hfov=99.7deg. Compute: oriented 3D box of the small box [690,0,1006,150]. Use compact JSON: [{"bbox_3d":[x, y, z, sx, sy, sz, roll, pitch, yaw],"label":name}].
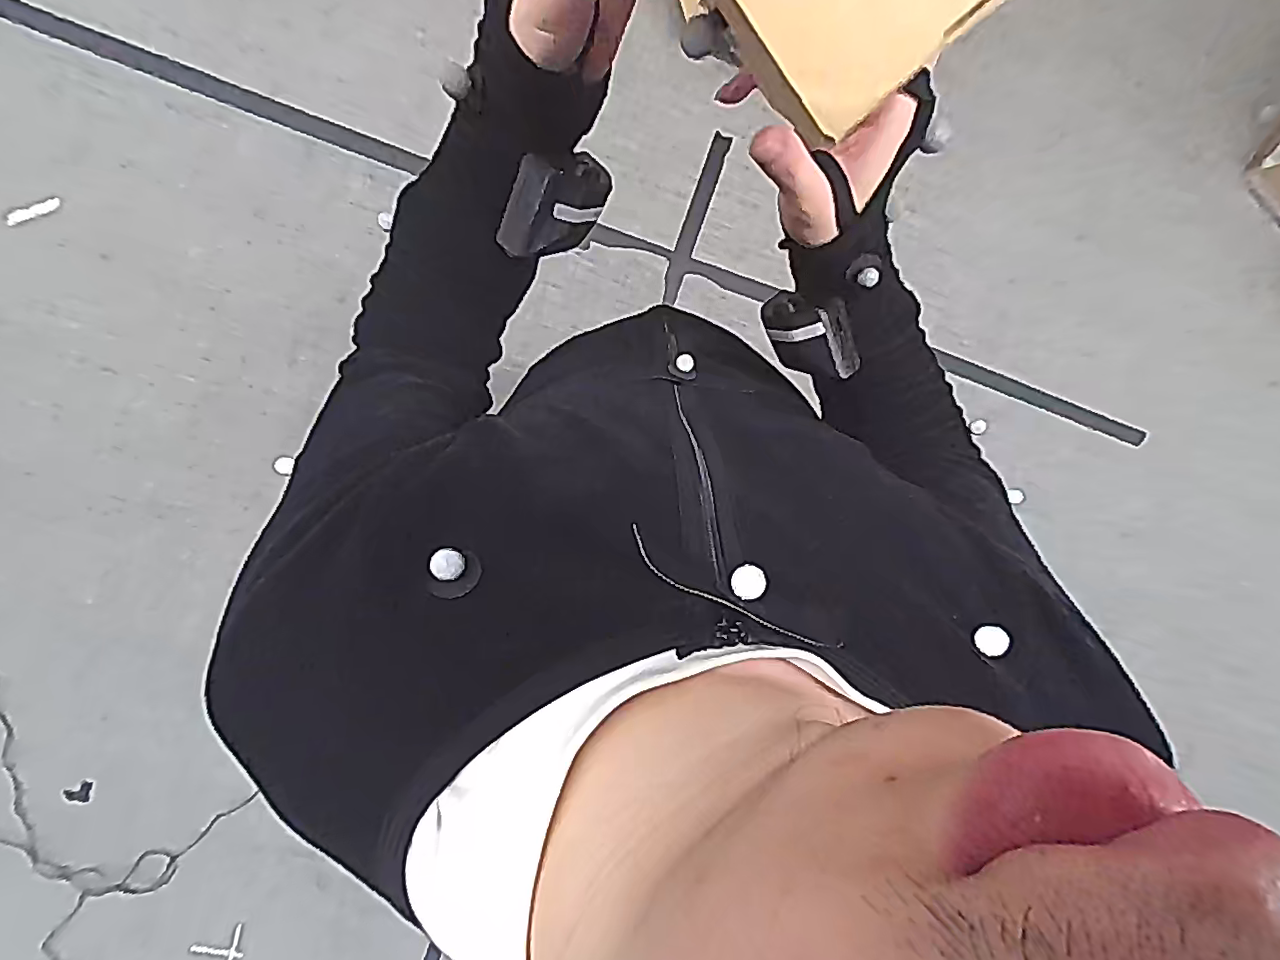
[{"bbox_3d":[0.060,-0.236,0.147,0.168,0.176,0.179,-35,116,29],"label":"small box"}]
